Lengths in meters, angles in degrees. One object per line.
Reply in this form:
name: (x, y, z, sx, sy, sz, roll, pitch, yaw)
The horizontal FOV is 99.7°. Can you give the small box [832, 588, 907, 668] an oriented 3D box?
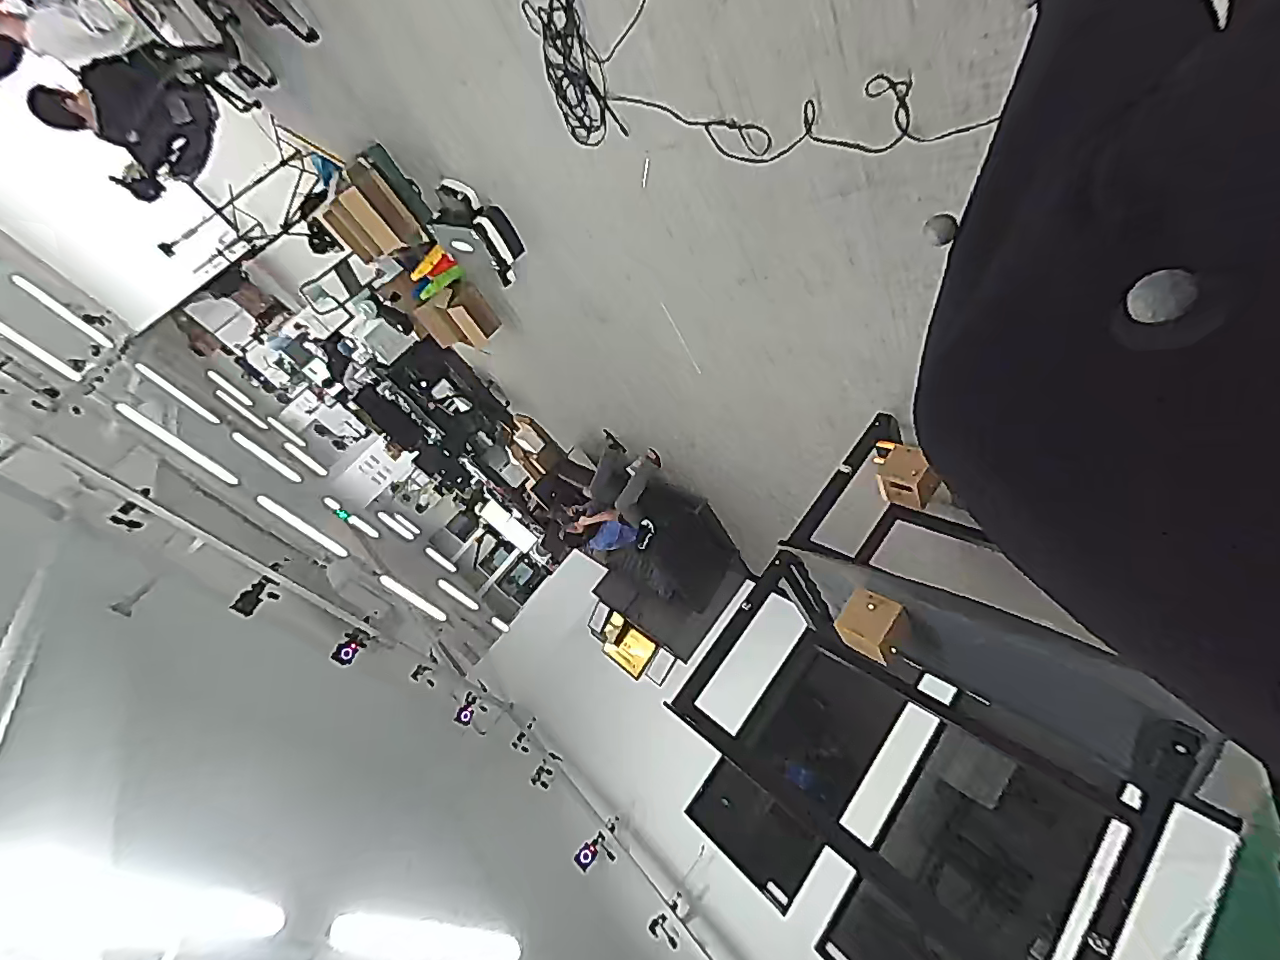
small box: (0.792, 0.504, 1.854, 0.168, 0.176, 0.179, 21, 156, 47)
